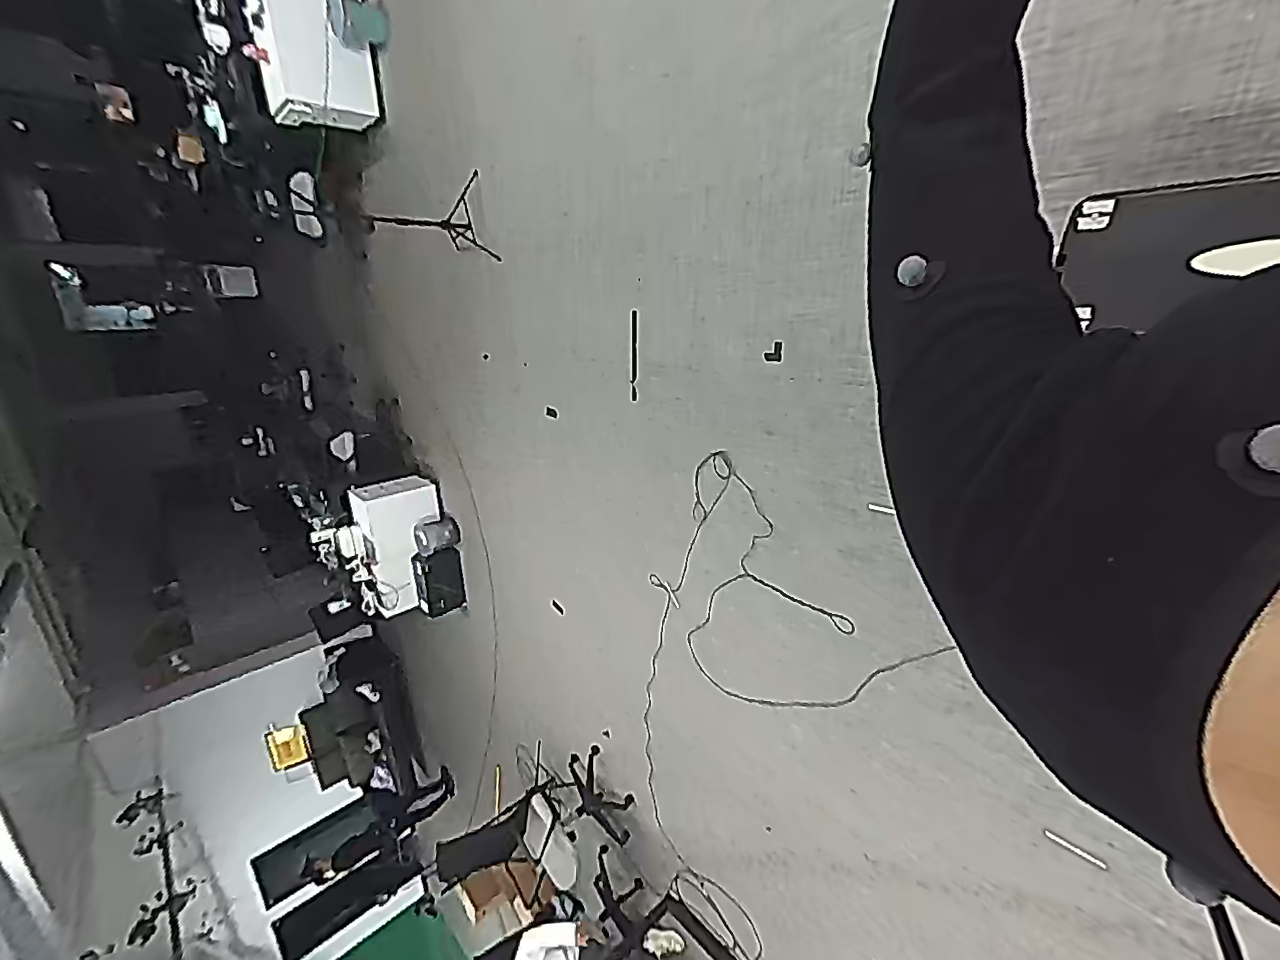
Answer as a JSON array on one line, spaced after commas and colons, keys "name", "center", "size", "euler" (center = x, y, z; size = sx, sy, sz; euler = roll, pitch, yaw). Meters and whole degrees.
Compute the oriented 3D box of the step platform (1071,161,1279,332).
[{"name": "step platform", "center": [1.195, -0.410, 0.947], "size": [0.684, 0.204, 0.286], "euler": [16, 116, 44]}]
